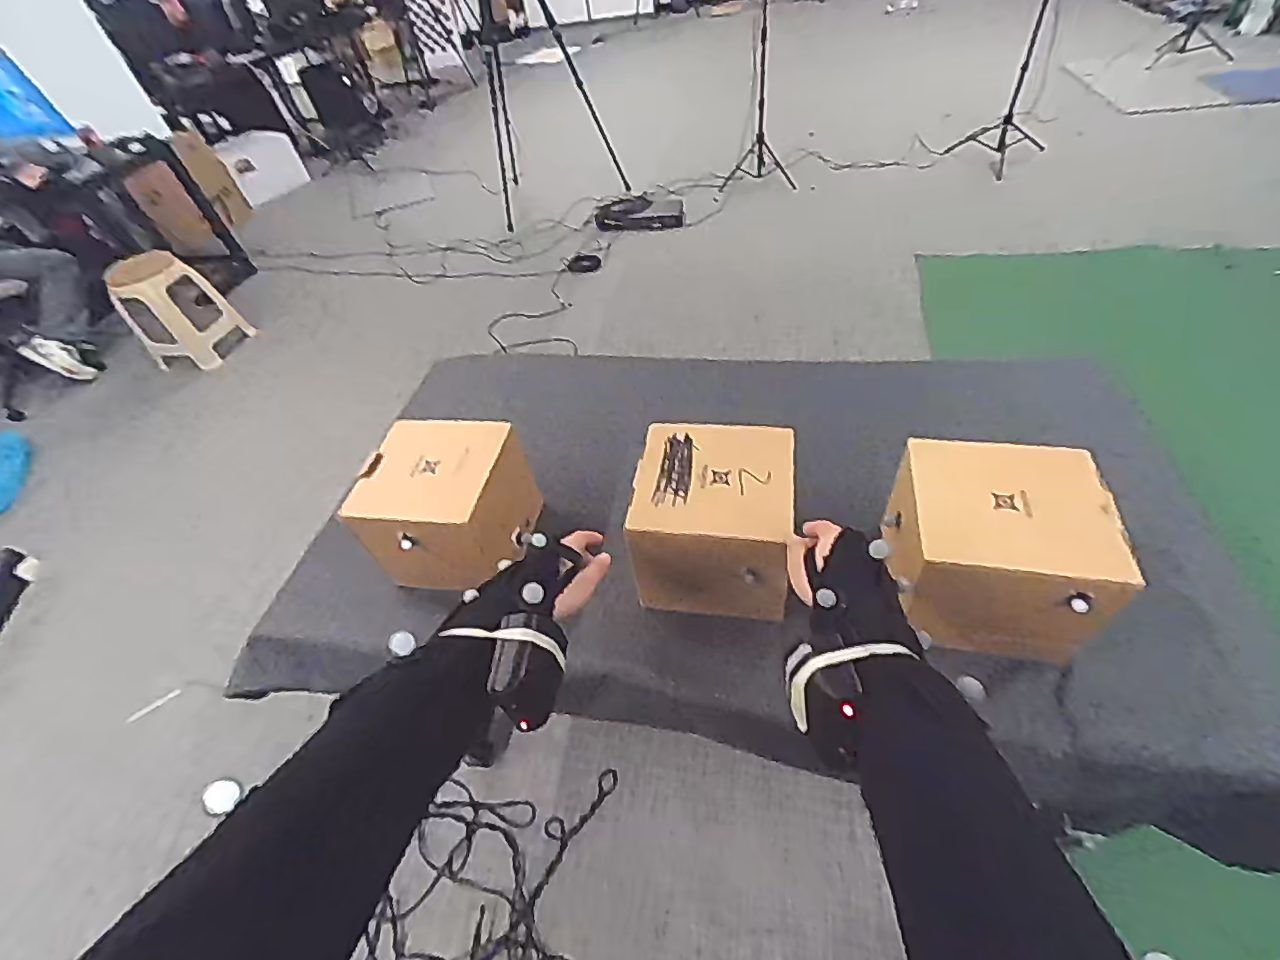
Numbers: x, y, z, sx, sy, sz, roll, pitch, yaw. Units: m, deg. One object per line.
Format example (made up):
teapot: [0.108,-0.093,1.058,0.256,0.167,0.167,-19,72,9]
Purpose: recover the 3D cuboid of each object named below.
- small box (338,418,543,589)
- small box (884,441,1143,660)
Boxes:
small box: [-0.252,0.034,0.732,0.179,0.176,0.168,3,51,11]
small box: [0.373,0.077,0.587,0.179,0.176,0.168,5,49,14]
